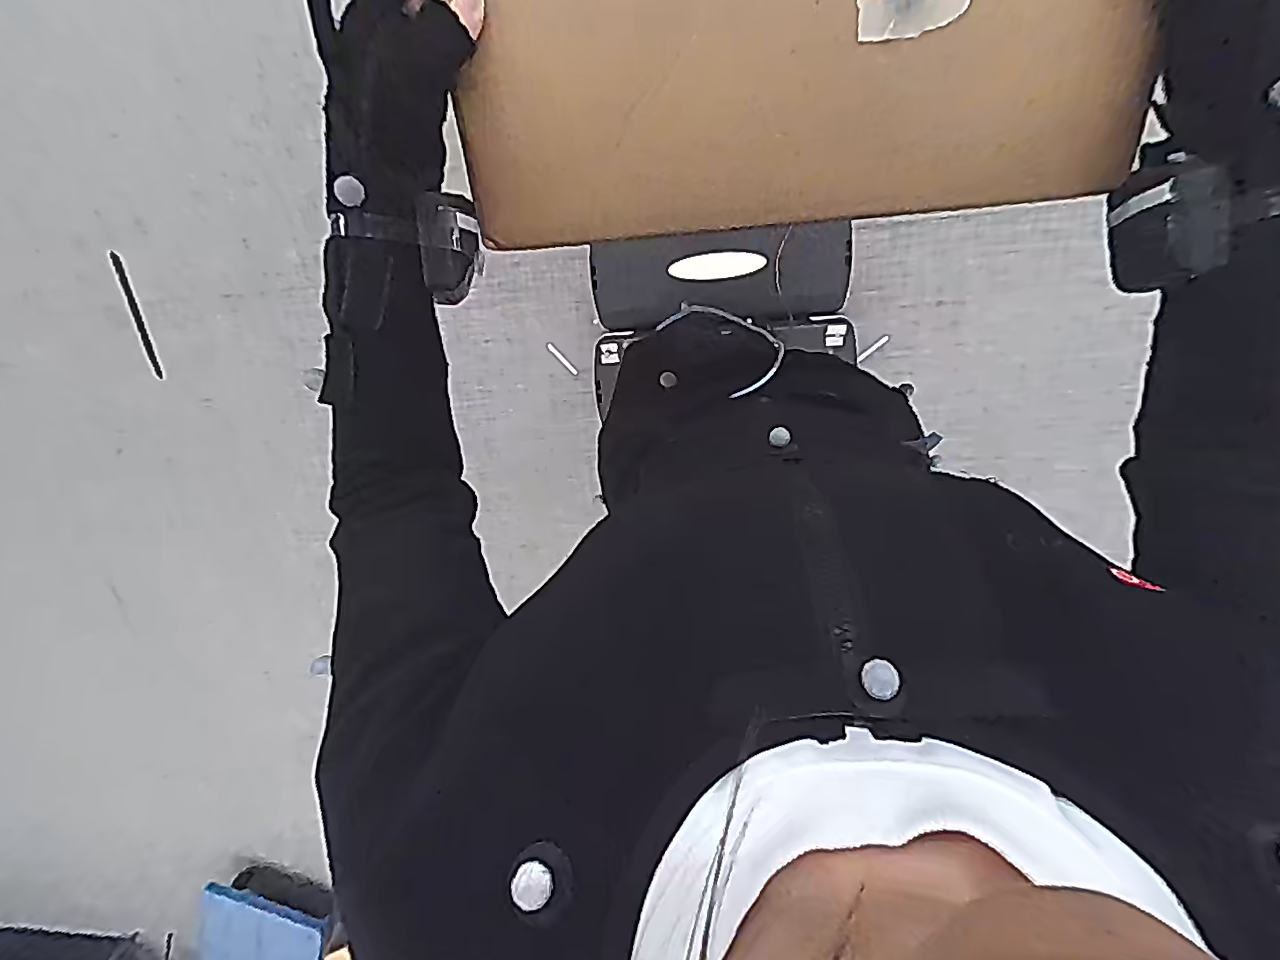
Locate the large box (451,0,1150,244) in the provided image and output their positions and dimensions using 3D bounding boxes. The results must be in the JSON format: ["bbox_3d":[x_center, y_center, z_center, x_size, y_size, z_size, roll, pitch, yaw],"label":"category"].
[{"bbox_3d":[0.091,-0.384,0.427,0.408,0.320,0.320,-3,117,7],"label":"large box"}]

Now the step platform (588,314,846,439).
[{"bbox_3d":[0.201,-0.278,1.482,0.684,0.204,0.286,-2,108,11],"label":"step platform"}]
